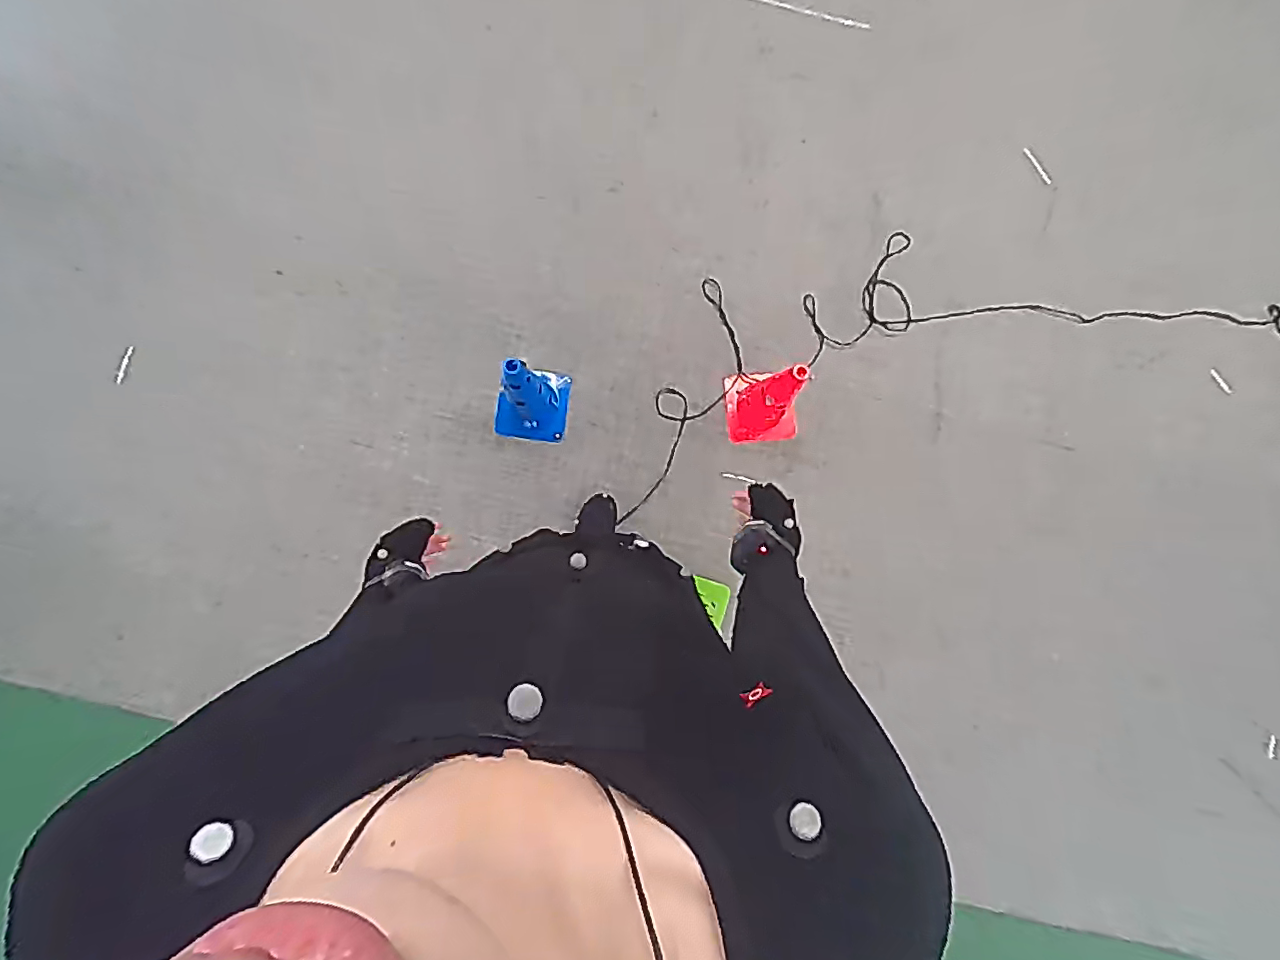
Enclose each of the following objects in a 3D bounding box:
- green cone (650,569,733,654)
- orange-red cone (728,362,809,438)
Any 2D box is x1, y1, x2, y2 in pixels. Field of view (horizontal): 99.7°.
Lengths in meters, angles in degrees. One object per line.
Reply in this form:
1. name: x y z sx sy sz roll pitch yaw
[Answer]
1. green cone: 0.156 0.346 1.332 0.200 0.368 0.202 16 83 -2
2. orange-red cone: 0.363 -0.235 1.404 0.198 0.360 0.199 -4 86 -2
